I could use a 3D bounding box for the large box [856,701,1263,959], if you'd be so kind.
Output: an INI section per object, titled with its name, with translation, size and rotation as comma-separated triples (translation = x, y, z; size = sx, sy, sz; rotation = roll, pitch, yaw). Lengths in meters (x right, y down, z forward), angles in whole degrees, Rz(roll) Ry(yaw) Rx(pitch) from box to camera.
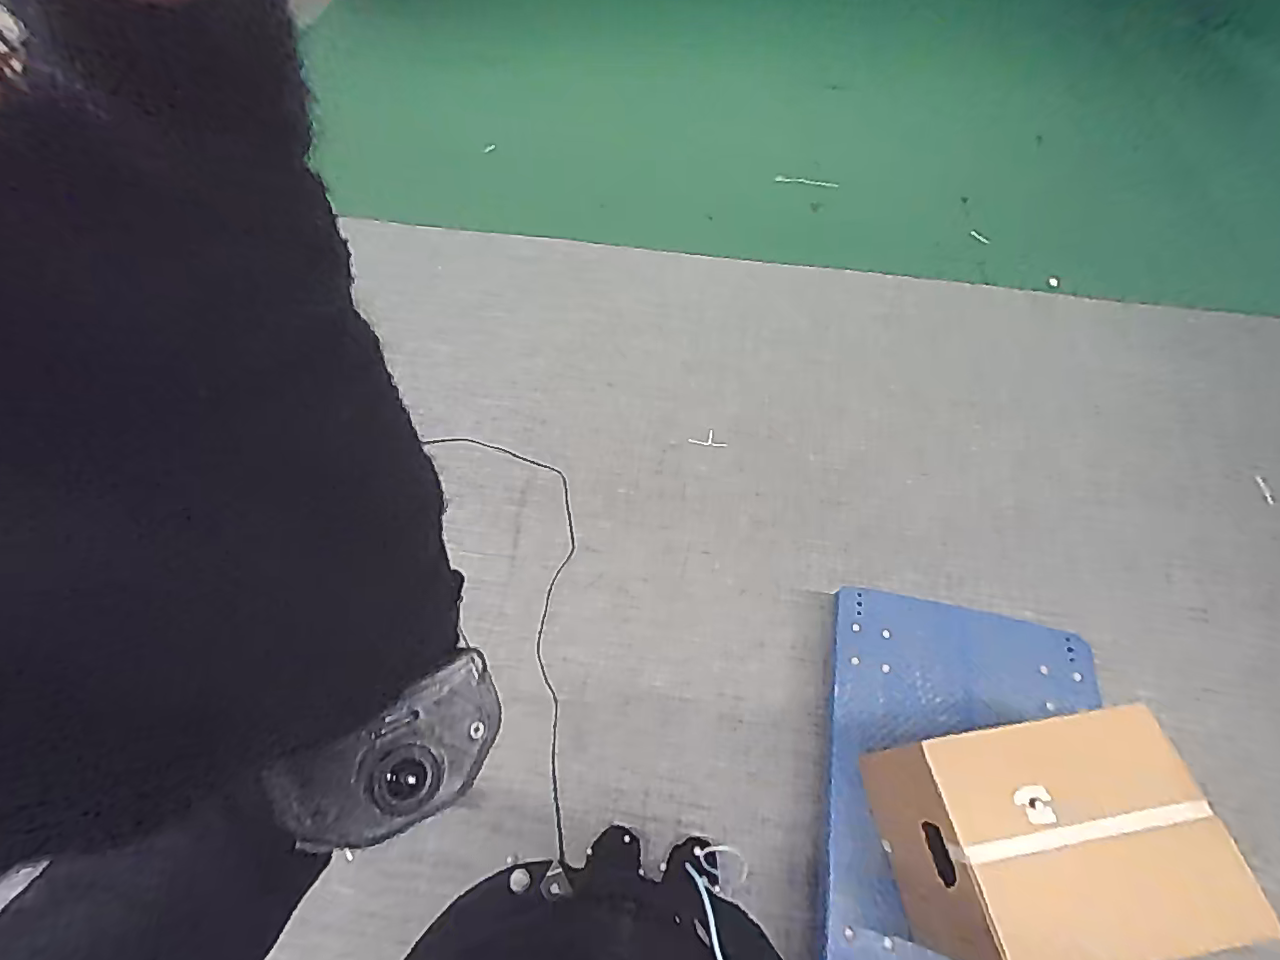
[large box]
translation = 0.668, 0.608, 0.951
size = 0.408, 0.320, 0.320
rotation = -8, 58, -4
